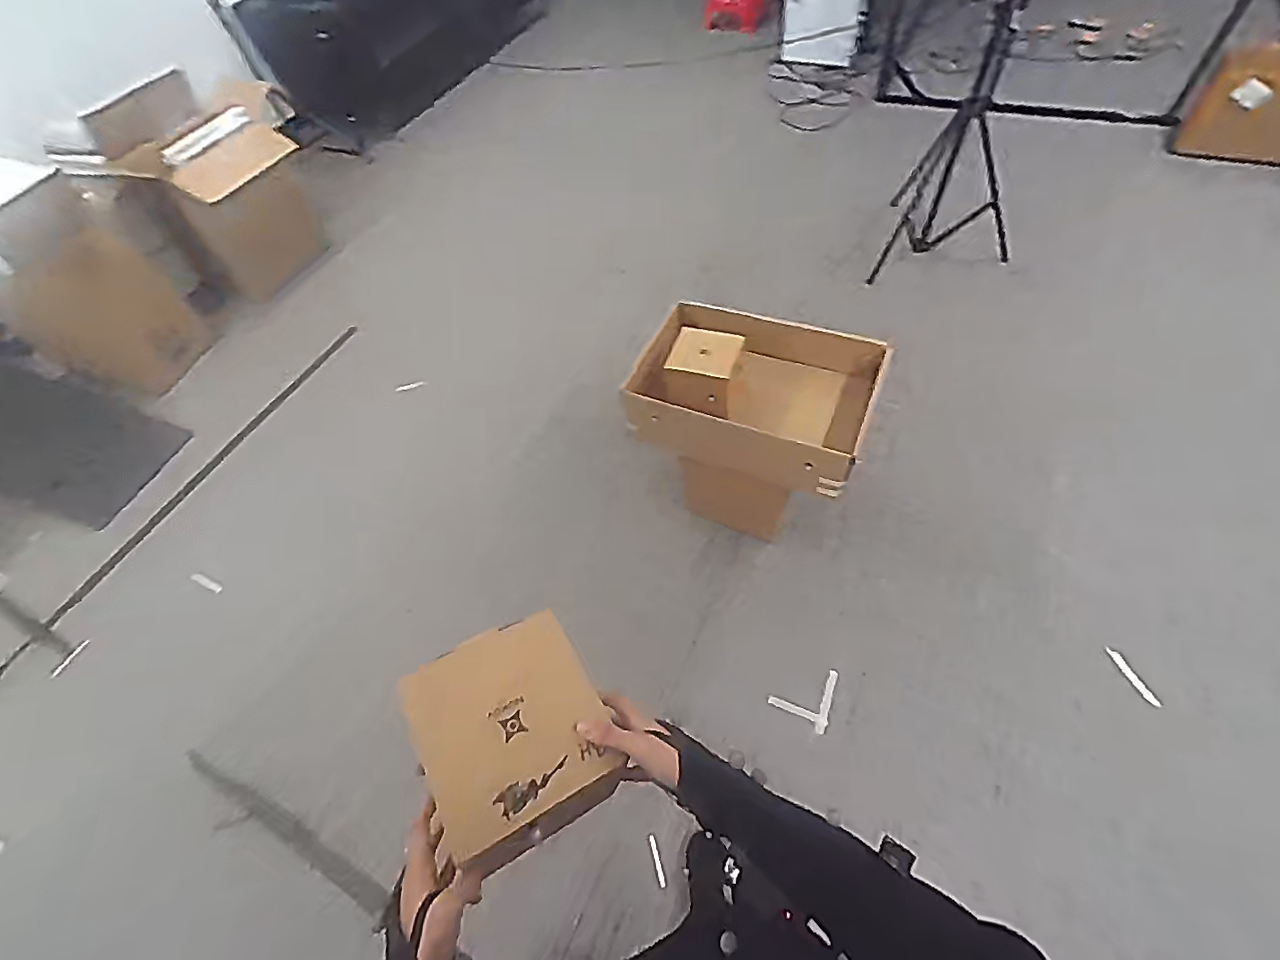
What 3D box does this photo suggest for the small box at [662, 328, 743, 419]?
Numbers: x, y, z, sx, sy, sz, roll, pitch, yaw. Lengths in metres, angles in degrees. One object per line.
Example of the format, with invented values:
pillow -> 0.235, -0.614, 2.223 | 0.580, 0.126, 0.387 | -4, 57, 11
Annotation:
small box -> 0.175, -0.288, 1.489 | 0.179, 0.176, 0.168 | 14, 59, 17

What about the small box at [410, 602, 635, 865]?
small box -> -0.126, 0.267, 0.573 | 0.168, 0.176, 0.179 | -20, 56, -24
